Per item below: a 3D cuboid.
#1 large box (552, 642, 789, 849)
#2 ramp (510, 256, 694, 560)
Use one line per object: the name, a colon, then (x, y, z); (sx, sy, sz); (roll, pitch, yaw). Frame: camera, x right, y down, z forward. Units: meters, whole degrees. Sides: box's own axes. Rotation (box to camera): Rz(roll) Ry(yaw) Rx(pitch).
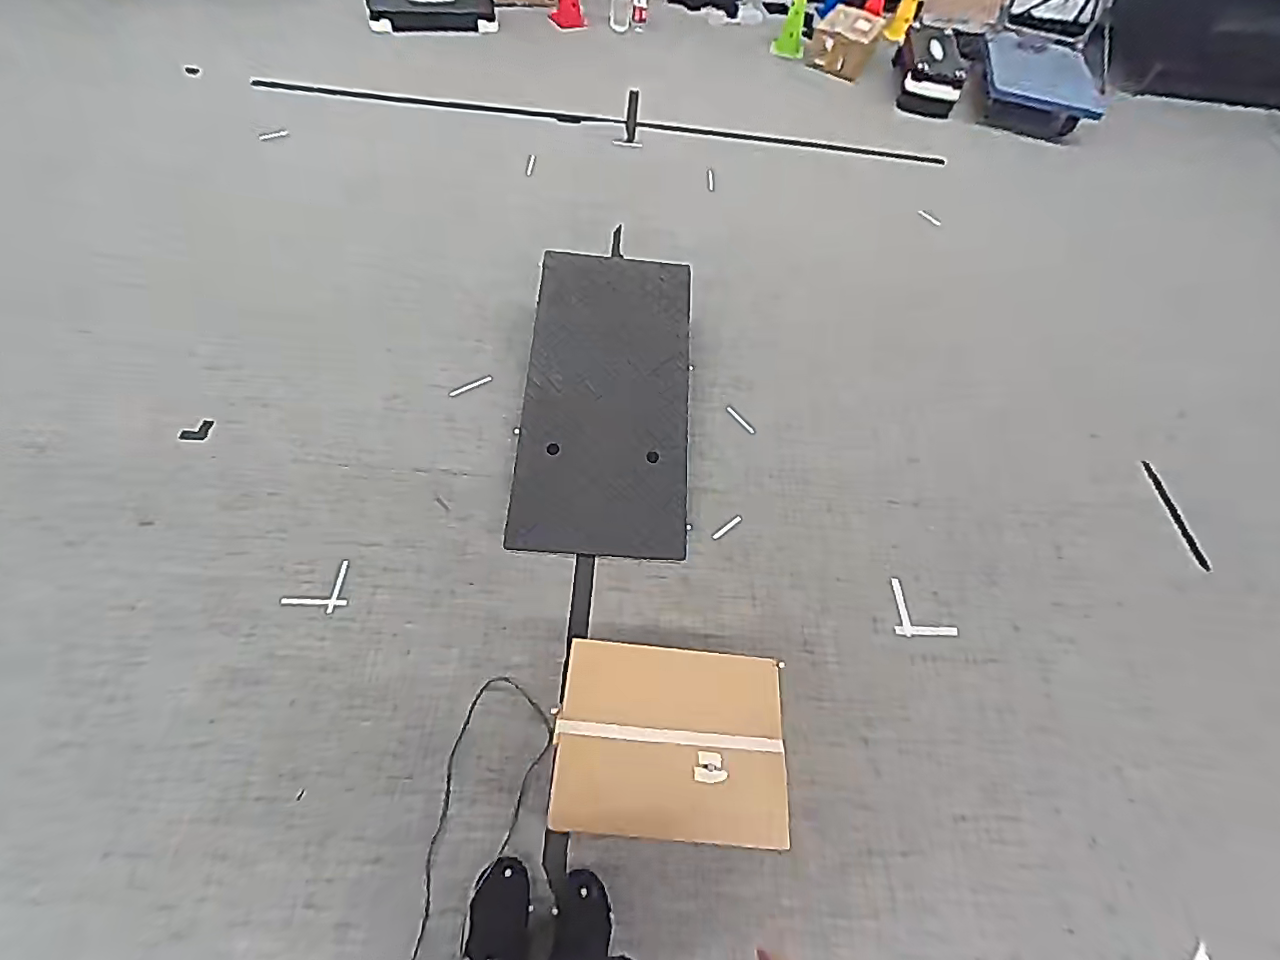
large box: (0.044, 0.541, 1.090); (0.408, 0.320, 0.320); (7, 58, -3)
ramp: (-0.082, -0.261, 1.639); (0.509, 0.206, 0.991); (4, 59, -5)
